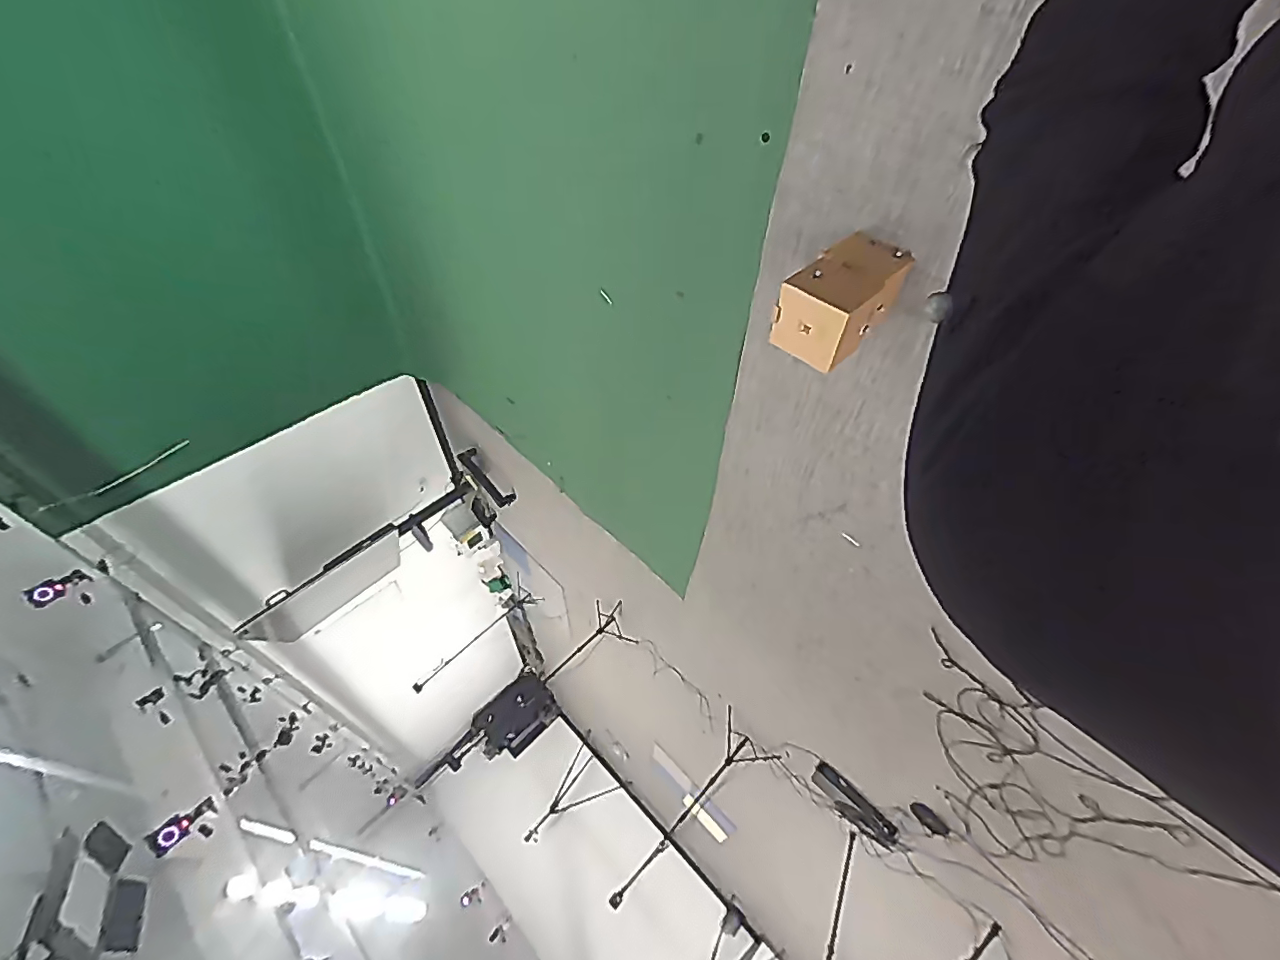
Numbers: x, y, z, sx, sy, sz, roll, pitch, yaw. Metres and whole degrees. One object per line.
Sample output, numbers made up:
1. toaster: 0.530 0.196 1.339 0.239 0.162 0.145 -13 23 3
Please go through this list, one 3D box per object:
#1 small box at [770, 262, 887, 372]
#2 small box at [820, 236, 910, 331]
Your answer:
1. small box: 0.440 -0.391 1.275 0.179 0.176 0.168 38 149 26
2. small box: 0.544 -0.482 1.361 0.168 0.176 0.179 40 150 24
